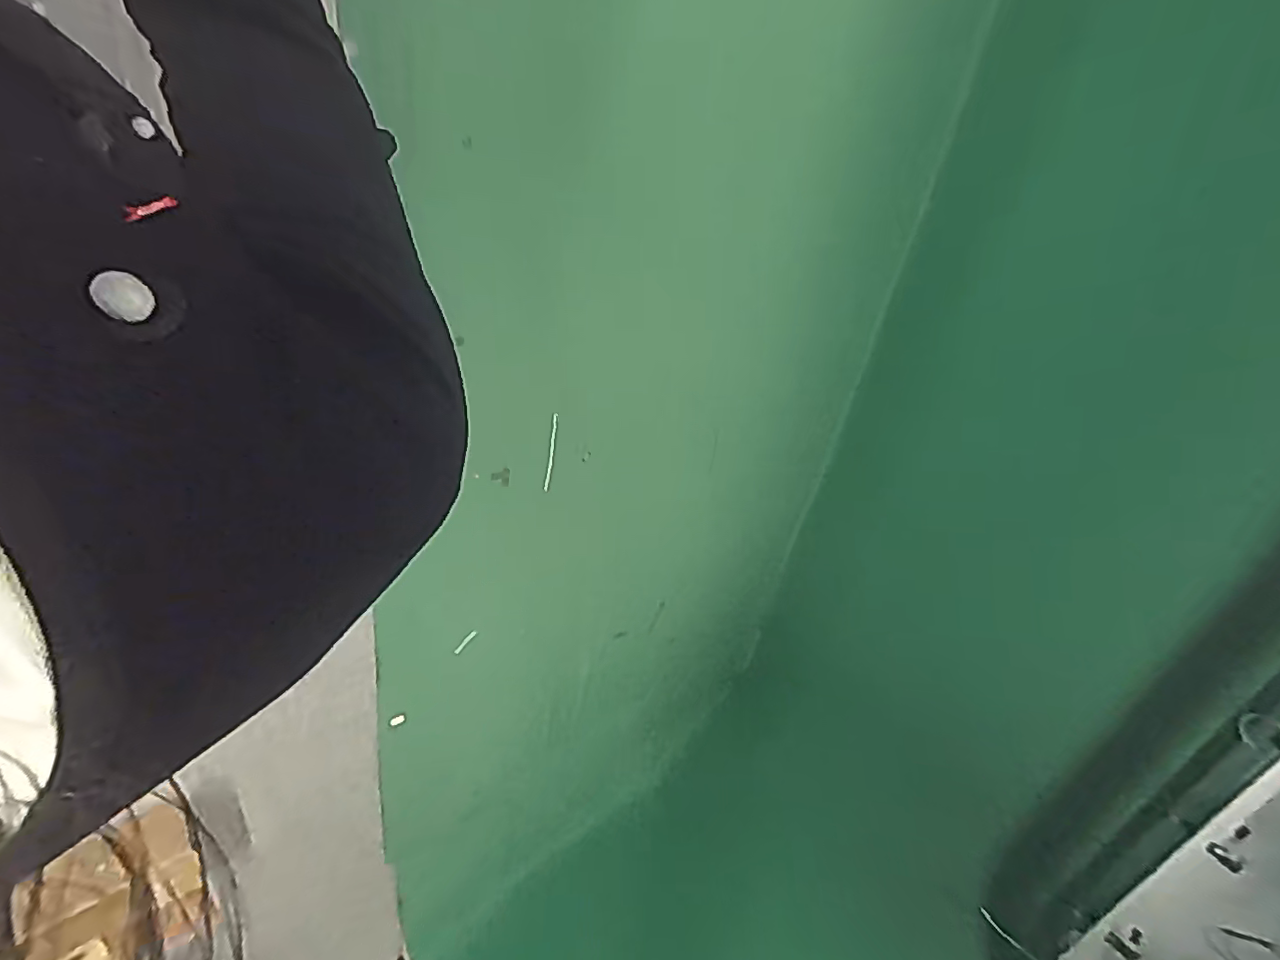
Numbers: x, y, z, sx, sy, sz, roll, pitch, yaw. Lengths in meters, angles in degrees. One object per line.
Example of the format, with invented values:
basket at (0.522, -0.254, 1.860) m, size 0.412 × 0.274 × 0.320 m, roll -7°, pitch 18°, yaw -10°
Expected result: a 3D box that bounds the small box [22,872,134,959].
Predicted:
small box at (-1.471, 1.181, 1.416) m, size 0.168 × 0.176 × 0.179 m, roll -19°, pitch 130°, yaw -41°
